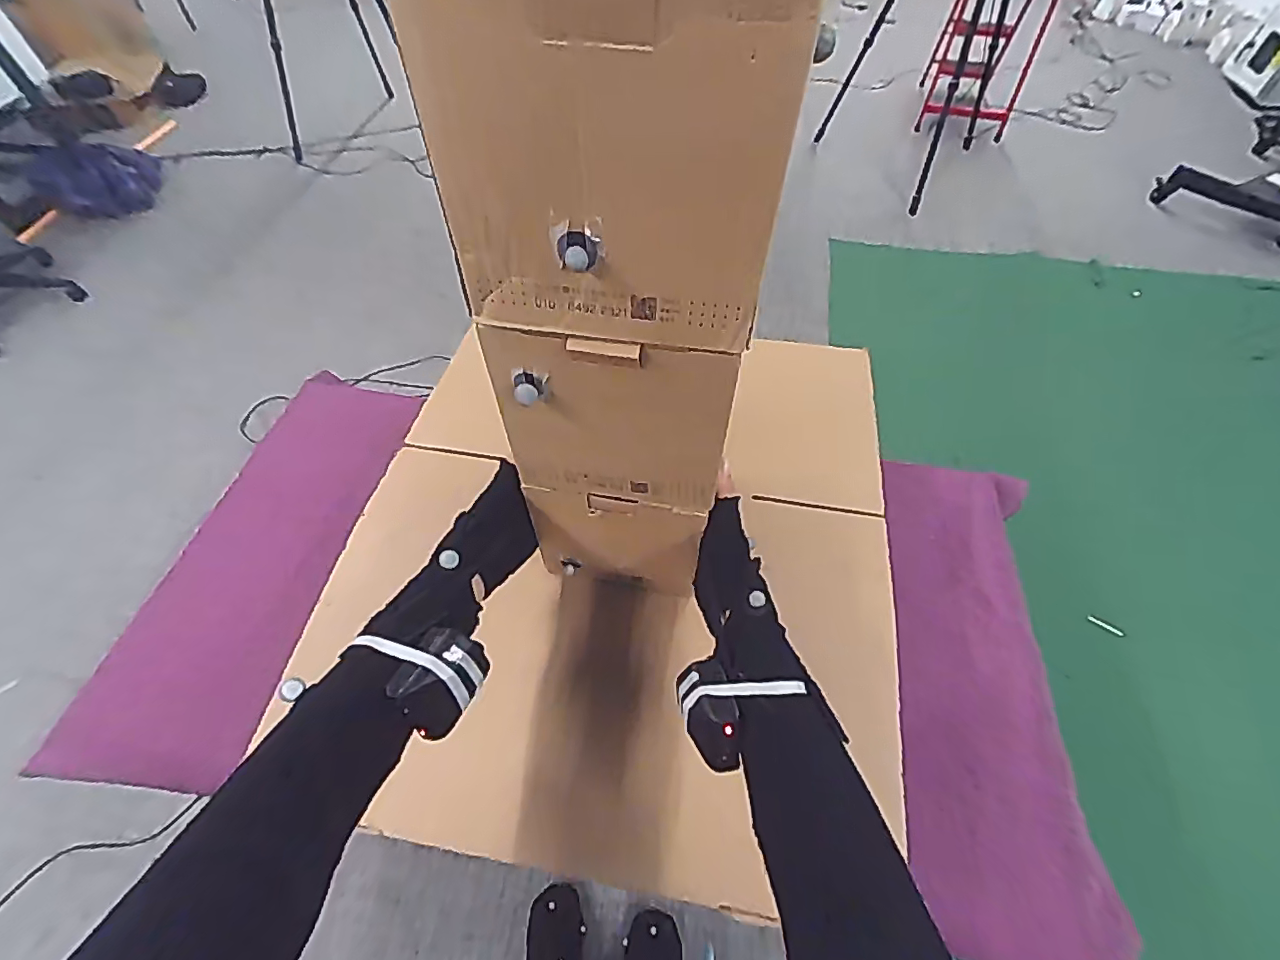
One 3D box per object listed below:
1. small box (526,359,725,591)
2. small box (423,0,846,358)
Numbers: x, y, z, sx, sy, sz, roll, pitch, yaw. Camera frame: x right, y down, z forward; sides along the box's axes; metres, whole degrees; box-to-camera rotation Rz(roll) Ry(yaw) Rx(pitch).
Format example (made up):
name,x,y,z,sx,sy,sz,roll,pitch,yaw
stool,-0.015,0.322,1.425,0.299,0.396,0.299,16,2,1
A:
name,x,y,z,sx,sy,sz,roll,pitch,yaw
small box,-0.007,0.001,0.568,0.168,0.176,0.179,7,56,4
small box,0.002,-0.197,0.307,0.168,0.176,0.179,8,54,4
